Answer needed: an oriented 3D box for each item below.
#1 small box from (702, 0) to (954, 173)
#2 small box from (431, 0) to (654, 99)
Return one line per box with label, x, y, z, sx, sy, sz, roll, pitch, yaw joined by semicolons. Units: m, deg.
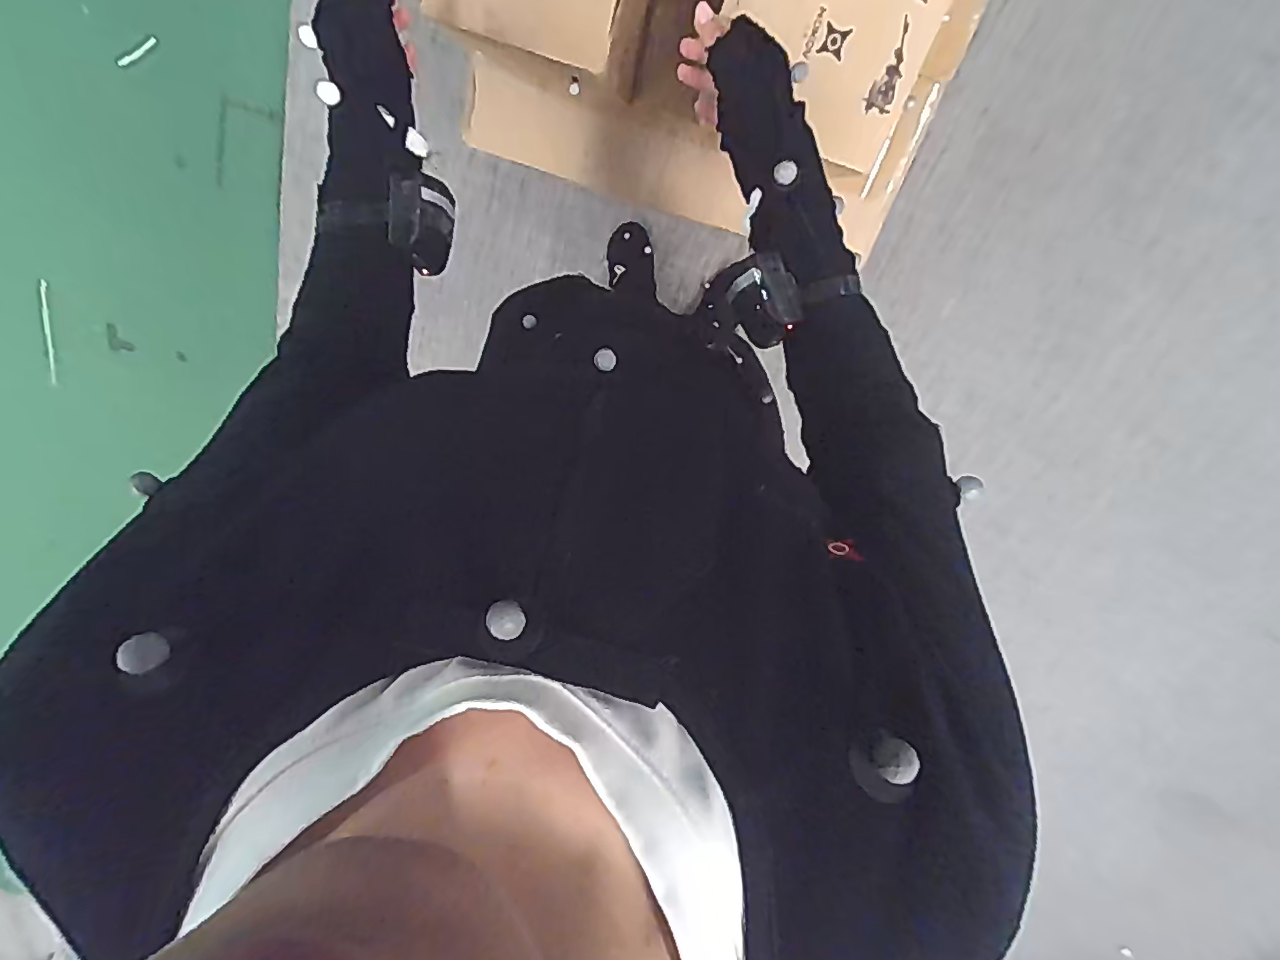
small box;0.173;-0.418;0.534;0.179;0.176;0.168;19;119;-2
small box;-0.077;-0.498;0.529;0.179;0.176;0.168;17;117;0
